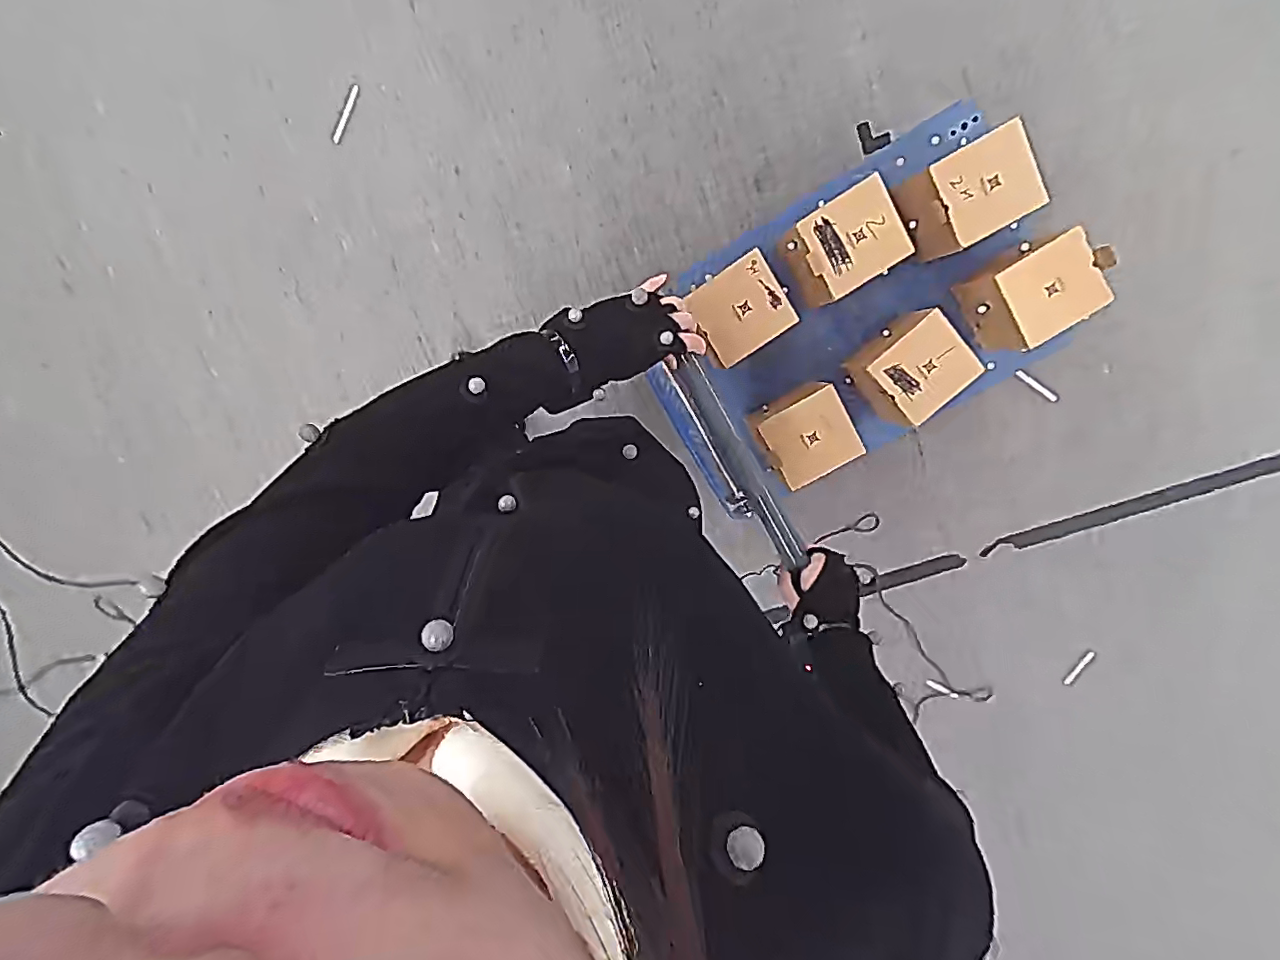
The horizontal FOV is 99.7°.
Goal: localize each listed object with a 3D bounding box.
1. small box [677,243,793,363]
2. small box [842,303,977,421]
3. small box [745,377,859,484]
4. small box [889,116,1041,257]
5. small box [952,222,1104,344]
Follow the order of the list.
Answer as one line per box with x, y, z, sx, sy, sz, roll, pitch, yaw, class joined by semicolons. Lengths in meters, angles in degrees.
0.192;-0.364;1.141;0.179;0.176;0.168;-32;101;8;small box
0.562;-0.250;1.162;0.179;0.176;0.168;-41;99;8;small box
0.346;-0.115;1.198;0.179;0.176;0.168;-29;102;6;small box
0.641;-0.574;1.085;0.179;0.176;0.168;-27;101;8;small box
0.789;-0.397;1.126;0.179;0.176;0.168;-32;100;8;small box
